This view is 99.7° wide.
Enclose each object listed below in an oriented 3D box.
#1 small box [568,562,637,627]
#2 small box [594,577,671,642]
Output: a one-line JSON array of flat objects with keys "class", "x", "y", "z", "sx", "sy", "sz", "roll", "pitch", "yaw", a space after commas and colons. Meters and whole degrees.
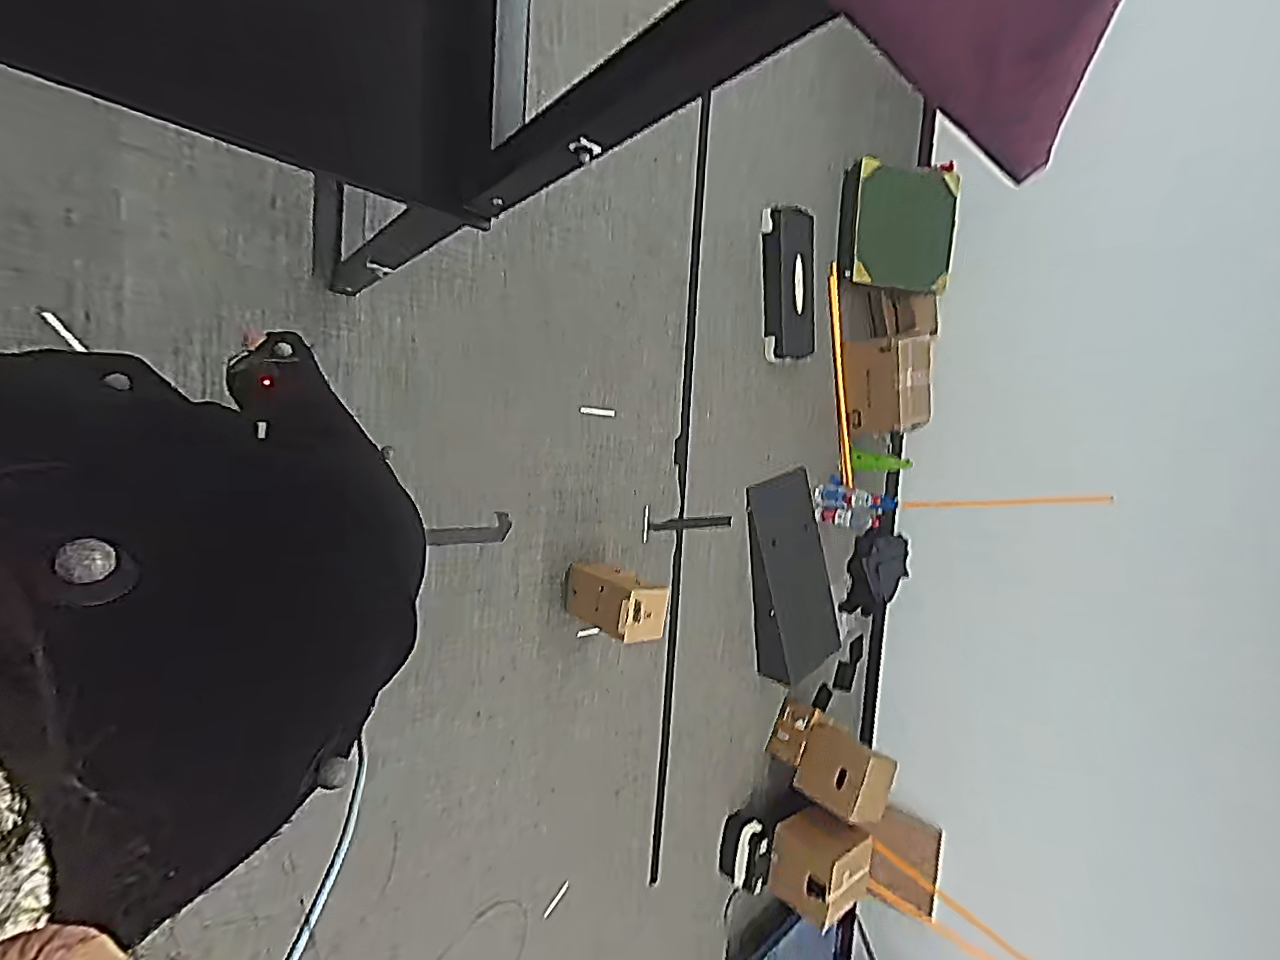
[{"class": "small box", "x": -0.135, "y": 0.392, "z": 1.876, "sx": 0.168, "sy": 0.176, "sz": 0.179, "roll": 3, "pitch": 95, "yaw": -43}, {"class": "small box", "x": -0.029, "y": 0.413, "z": 1.751, "sx": 0.179, "sy": 0.176, "sz": 0.168, "roll": 9, "pitch": 90, "yaw": -43}]
